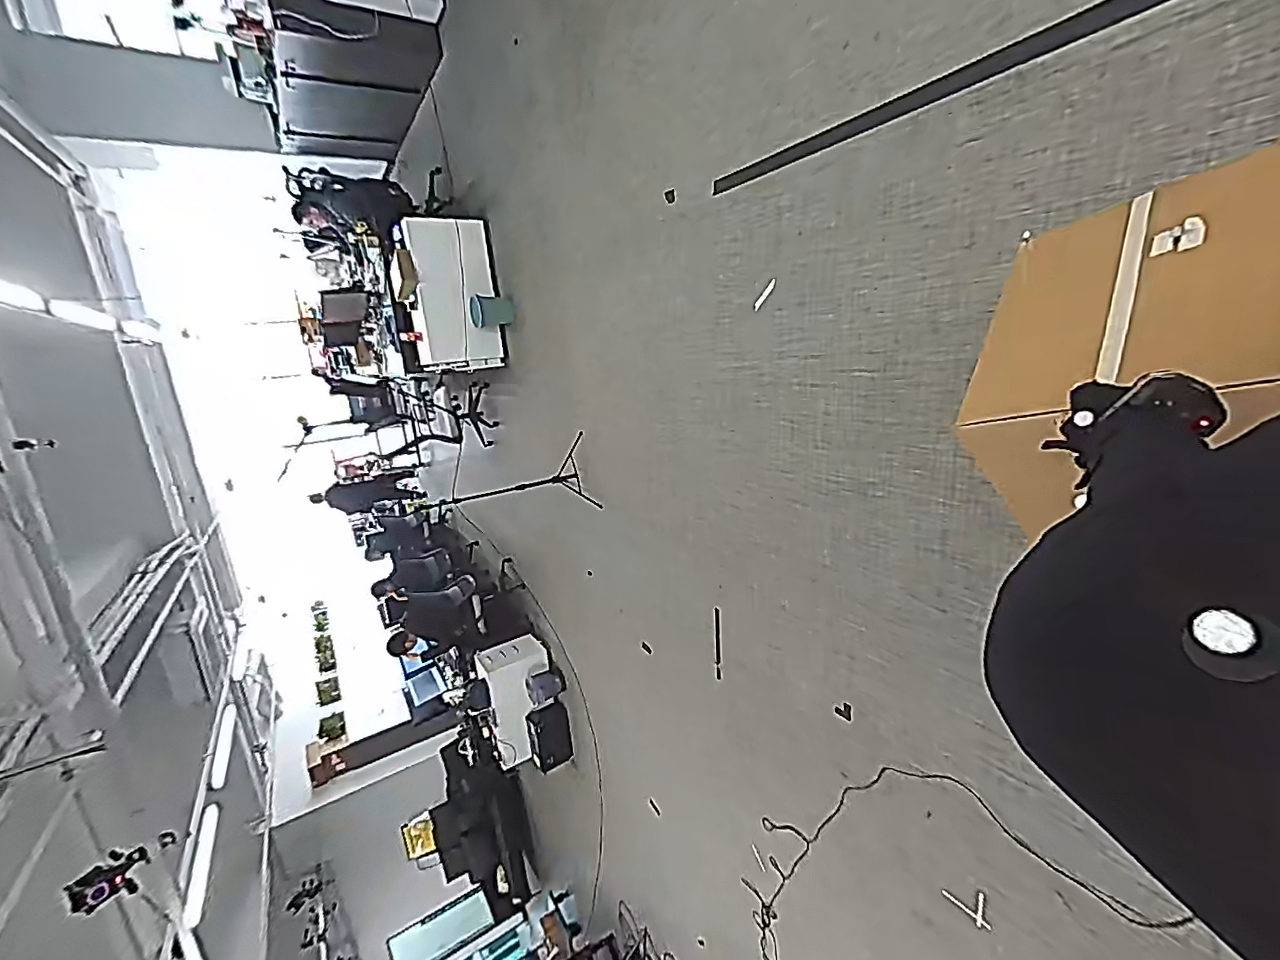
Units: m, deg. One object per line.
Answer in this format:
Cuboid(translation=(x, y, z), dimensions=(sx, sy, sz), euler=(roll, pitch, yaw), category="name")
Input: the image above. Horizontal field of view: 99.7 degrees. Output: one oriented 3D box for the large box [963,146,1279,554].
Cuboid(translation=(0.718, -0.148, 0.741), dimensions=(0.320, 0.408, 0.320), euler=(43, 156, -23), category="large box")
